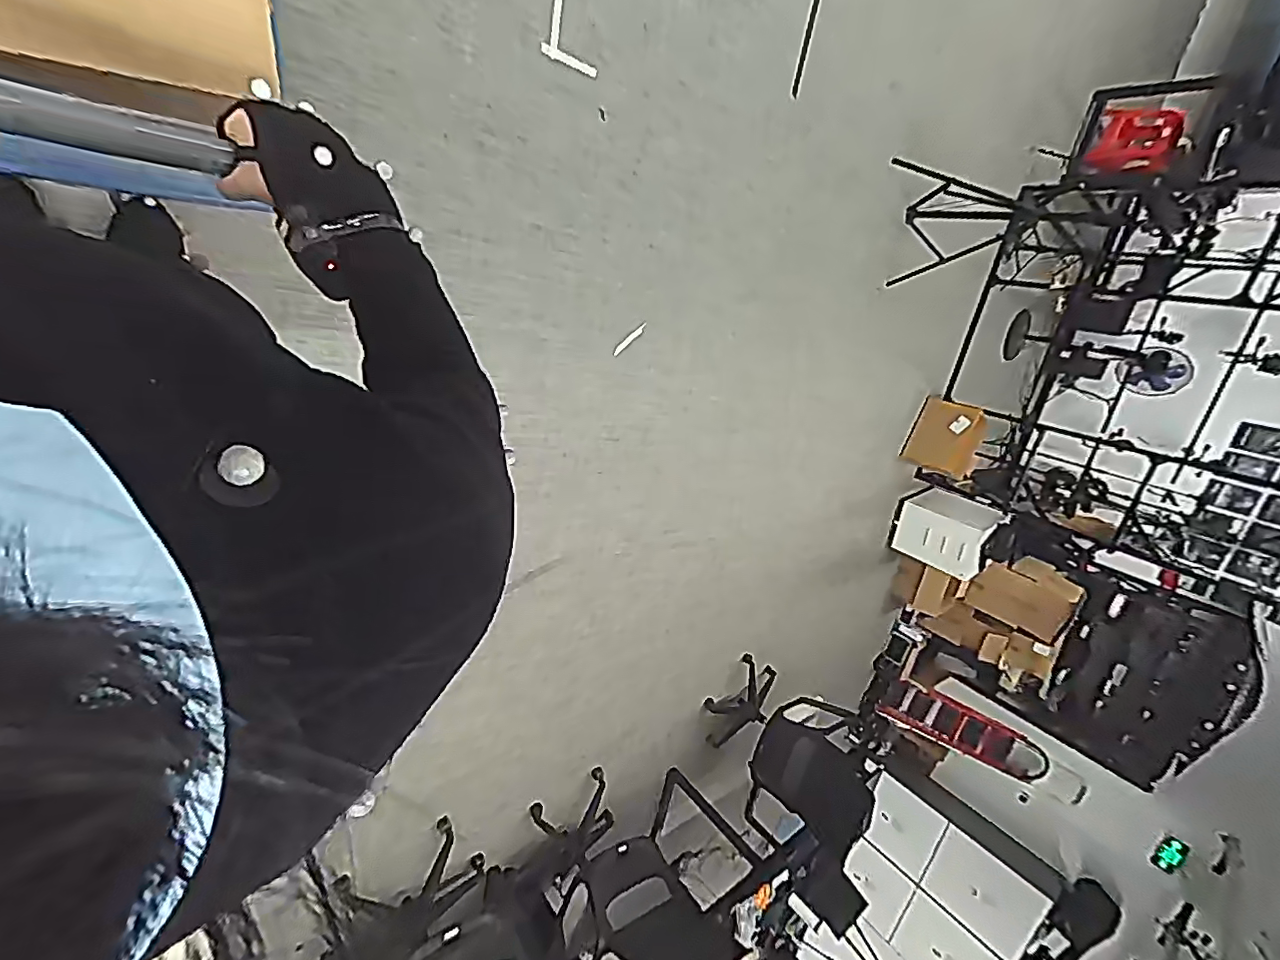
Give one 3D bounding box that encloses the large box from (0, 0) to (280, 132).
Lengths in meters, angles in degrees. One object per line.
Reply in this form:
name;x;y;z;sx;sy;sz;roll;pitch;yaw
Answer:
large box;-0.740;-0.666;0.675;0.408;0.320;0.320;-15;119;-39
